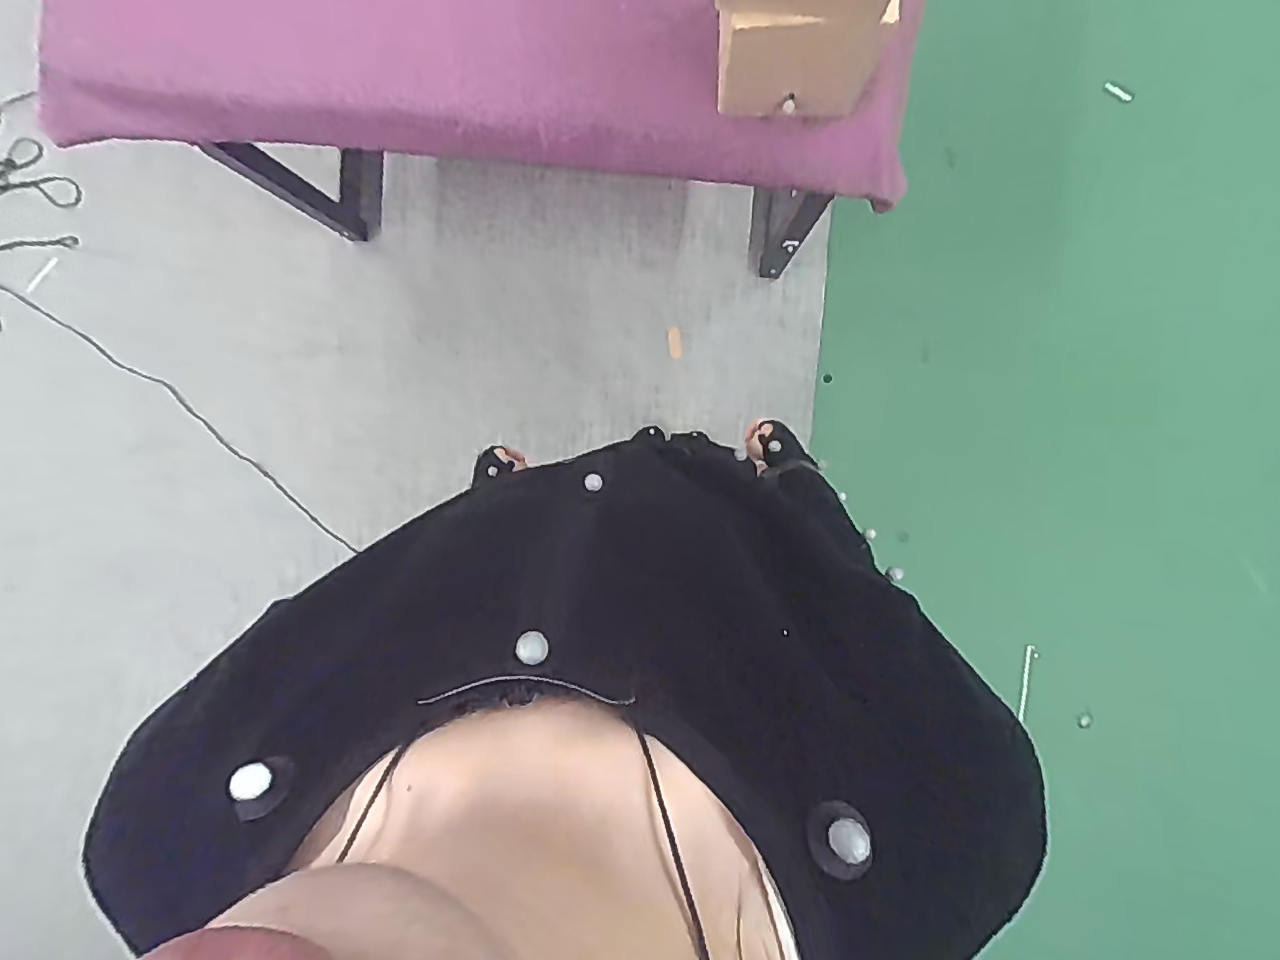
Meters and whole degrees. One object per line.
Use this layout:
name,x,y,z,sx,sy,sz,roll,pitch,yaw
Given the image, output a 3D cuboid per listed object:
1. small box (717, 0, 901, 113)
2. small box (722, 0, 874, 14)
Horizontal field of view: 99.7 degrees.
small box,0.189,-0.564,0.636,0.179,0.176,0.168,1,95,3
small box,0.169,-0.558,0.473,0.179,0.176,0.168,7,96,4
